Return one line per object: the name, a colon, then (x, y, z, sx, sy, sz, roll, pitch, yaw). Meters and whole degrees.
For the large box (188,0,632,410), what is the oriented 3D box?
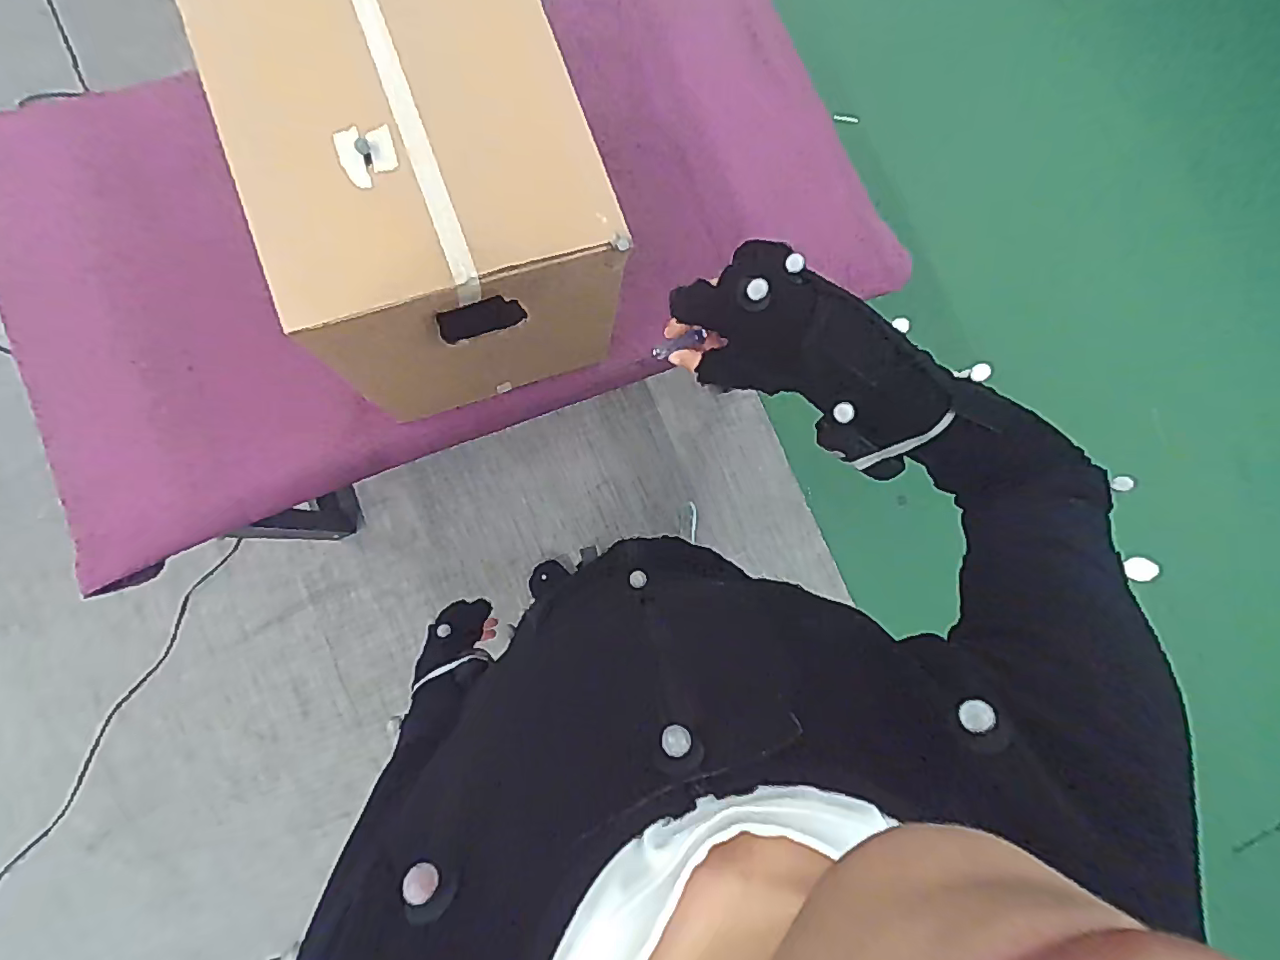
large box: (-0.242, -0.347, 0.650, 0.320, 0.320, 0.408, -20, 86, -10)
